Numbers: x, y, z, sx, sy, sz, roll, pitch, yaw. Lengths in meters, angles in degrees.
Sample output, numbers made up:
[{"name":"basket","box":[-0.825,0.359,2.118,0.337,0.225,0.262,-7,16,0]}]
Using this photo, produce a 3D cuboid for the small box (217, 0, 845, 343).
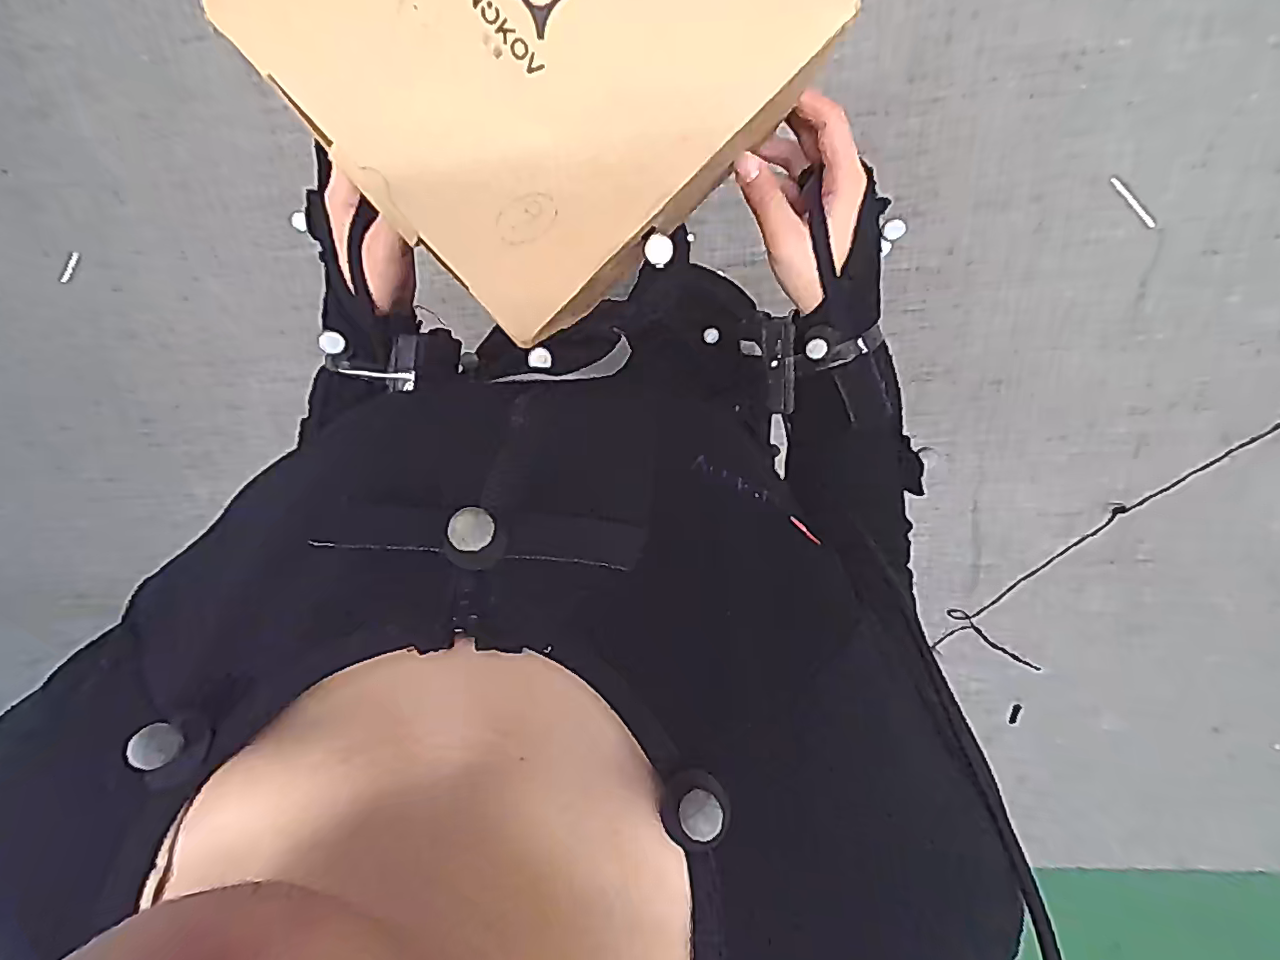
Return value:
[{"name":"small box","box":[-0.036,-0.193,0.269,0.179,0.176,0.168,-39,103,16]}]
